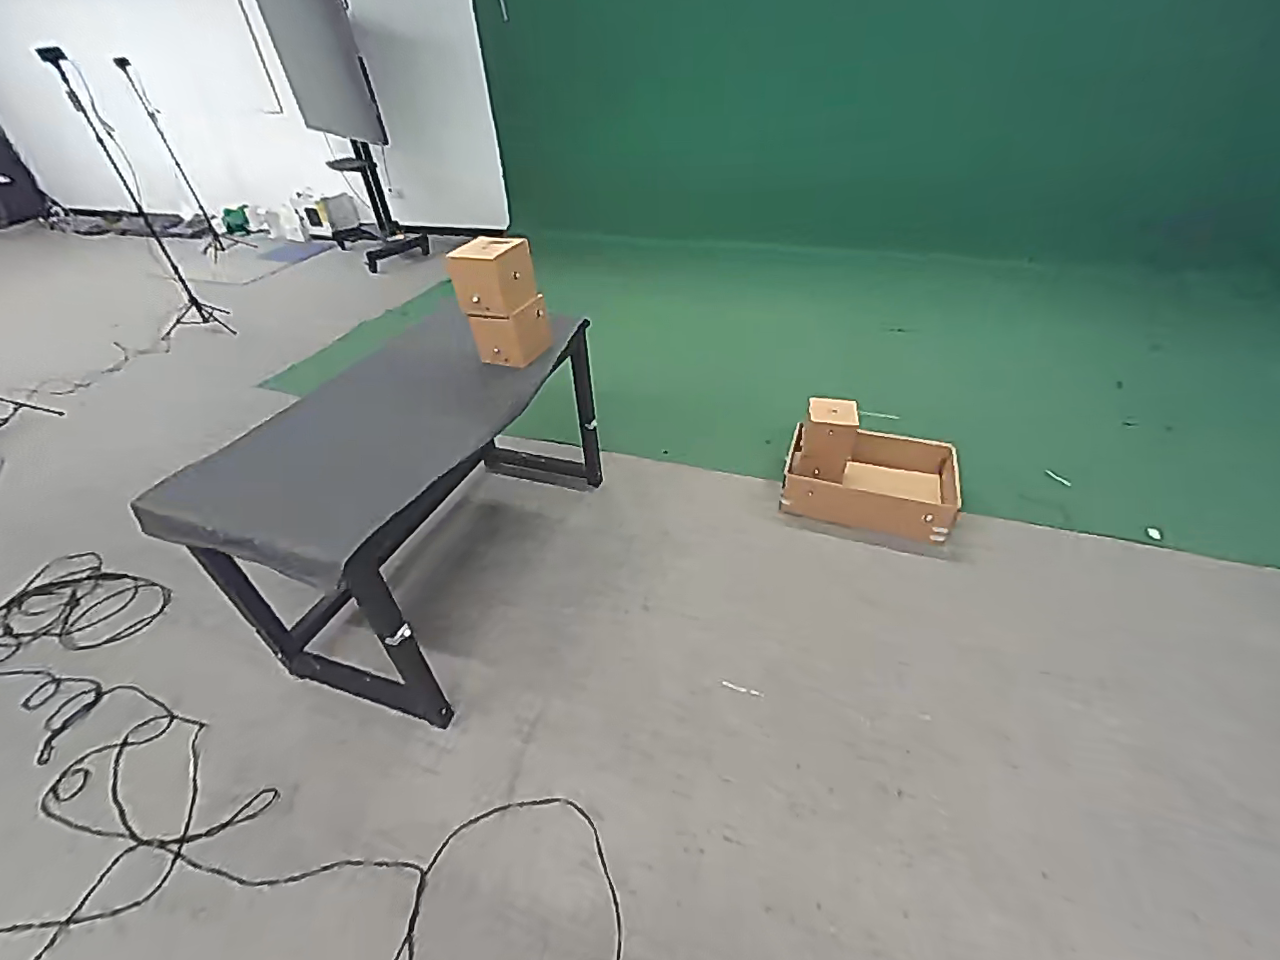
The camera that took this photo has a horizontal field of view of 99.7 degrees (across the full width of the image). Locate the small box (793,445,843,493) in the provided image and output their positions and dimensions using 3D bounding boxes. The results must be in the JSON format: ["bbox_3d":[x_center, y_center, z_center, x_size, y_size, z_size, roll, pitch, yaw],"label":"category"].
[{"bbox_3d":[0.730,-0.068,2.201,0.179,0.176,0.168,13,43,18],"label":"small box"}]

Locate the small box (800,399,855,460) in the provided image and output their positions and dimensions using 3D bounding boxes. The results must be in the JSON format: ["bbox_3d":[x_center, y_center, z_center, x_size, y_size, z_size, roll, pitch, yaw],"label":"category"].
[{"bbox_3d":[0.720,-0.195,2.097,0.179,0.176,0.168,8,42,9],"label":"small box"}]

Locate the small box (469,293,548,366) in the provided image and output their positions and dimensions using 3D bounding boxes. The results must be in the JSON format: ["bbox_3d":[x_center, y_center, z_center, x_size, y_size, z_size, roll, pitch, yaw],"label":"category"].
[{"bbox_3d":[-0.401,-0.476,1.679,0.168,0.176,0.179,13,43,21],"label":"small box"}]

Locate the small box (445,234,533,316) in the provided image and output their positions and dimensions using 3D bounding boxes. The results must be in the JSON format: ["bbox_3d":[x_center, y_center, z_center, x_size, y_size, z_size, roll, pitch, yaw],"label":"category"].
[{"bbox_3d":[-0.427,-0.597,1.570,0.168,0.176,0.179,12,43,20],"label":"small box"}]
